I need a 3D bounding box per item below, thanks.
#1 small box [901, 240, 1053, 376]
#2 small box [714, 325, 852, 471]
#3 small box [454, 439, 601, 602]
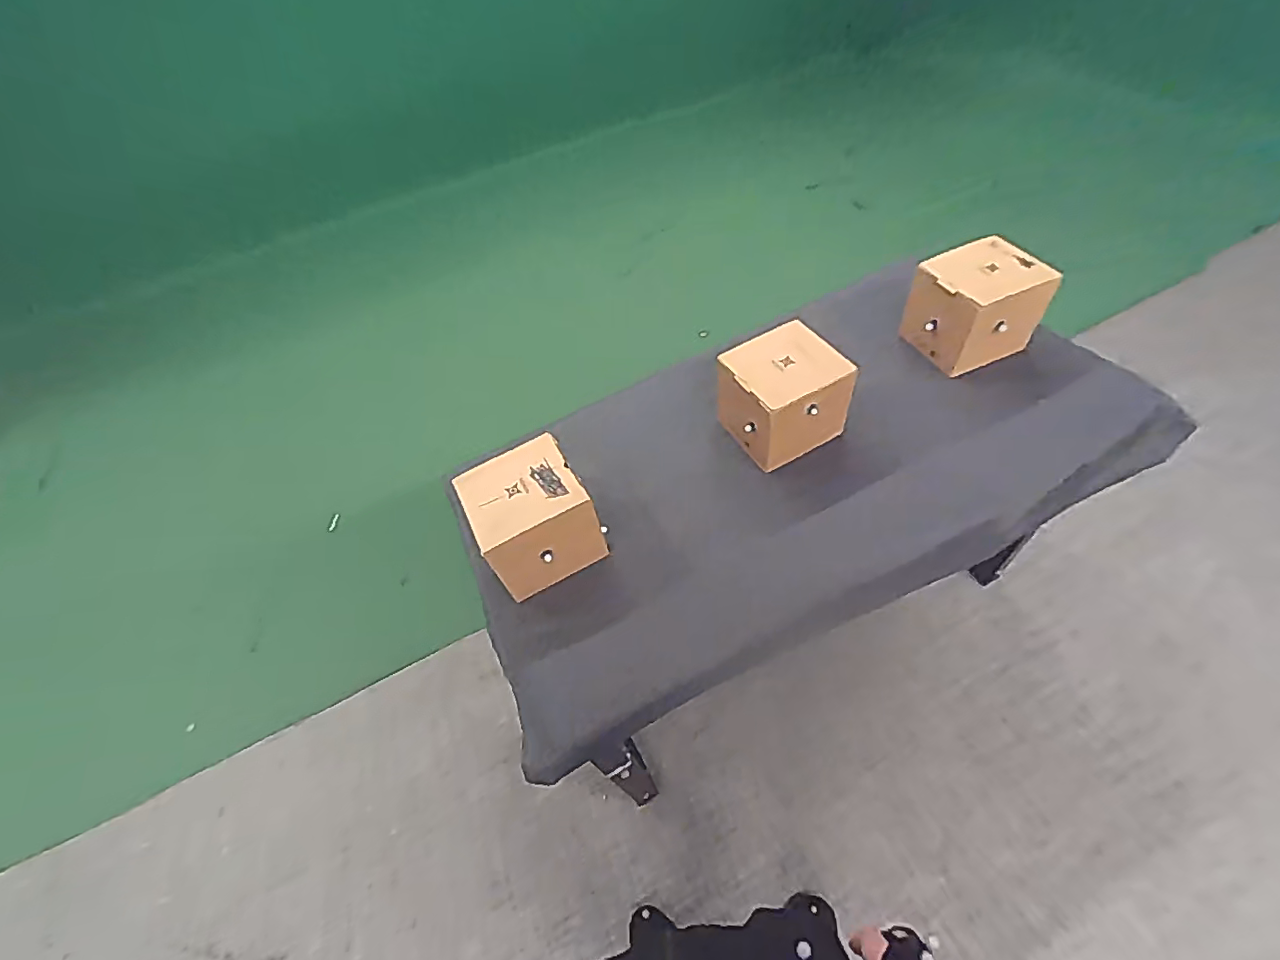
[{"bbox_3d":[0.642,-0.332,1.061,0.179,0.176,0.168,-22,53,-7],"label":"small box"},{"bbox_3d":[0.254,-0.145,0.991,0.179,0.176,0.168,-26,54,-12],"label":"small box"},{"bbox_3d":[-0.176,0.070,0.896,0.179,0.176,0.168,-28,53,-11],"label":"small box"}]
